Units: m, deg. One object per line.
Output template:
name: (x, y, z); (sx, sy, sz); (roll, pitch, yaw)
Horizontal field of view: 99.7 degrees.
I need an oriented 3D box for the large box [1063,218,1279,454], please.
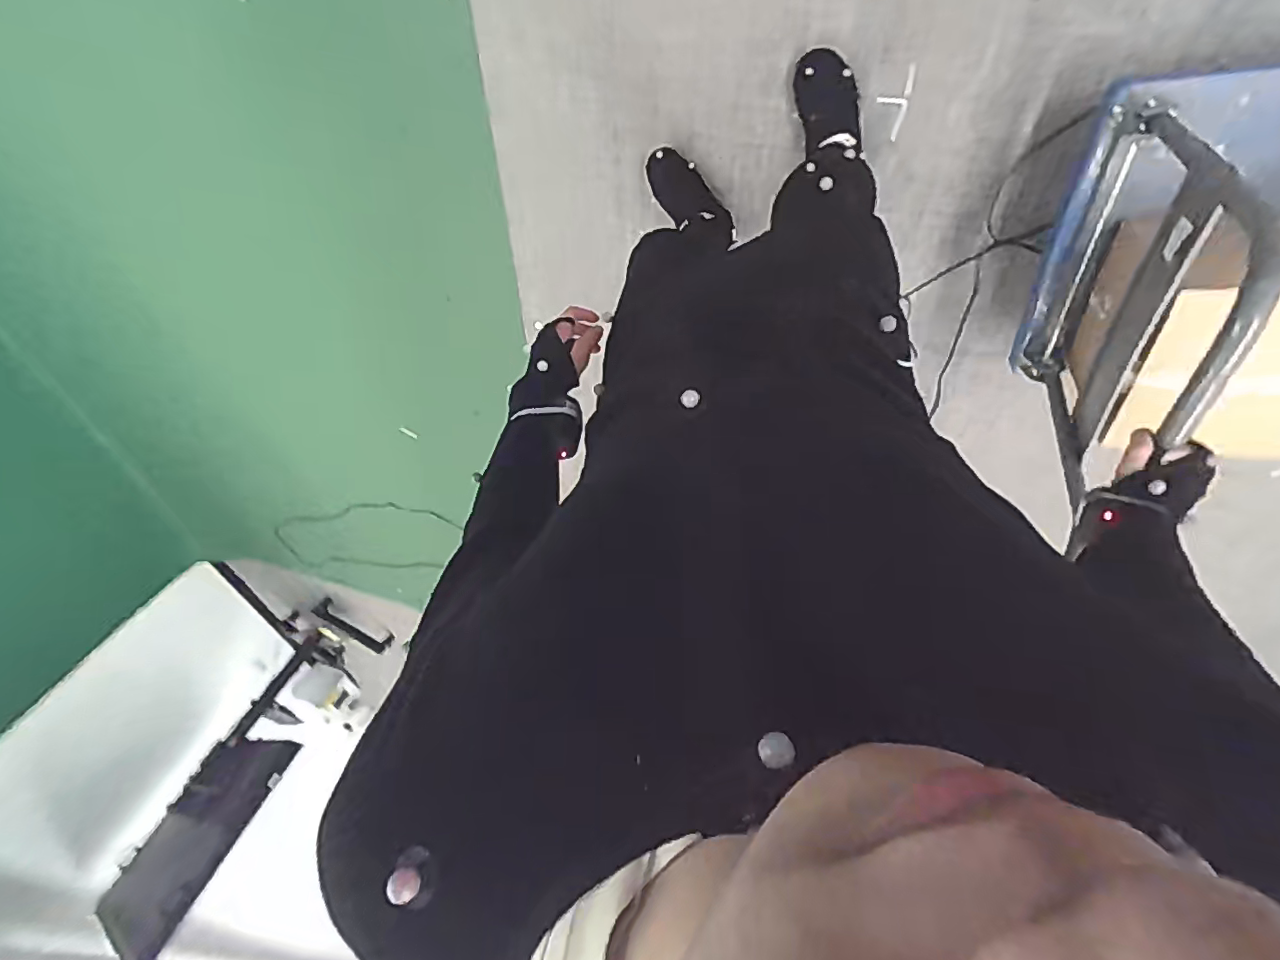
large box: (1.078, -0.262, 0.971); (0.408, 0.320, 0.320); (5, 135, 19)
